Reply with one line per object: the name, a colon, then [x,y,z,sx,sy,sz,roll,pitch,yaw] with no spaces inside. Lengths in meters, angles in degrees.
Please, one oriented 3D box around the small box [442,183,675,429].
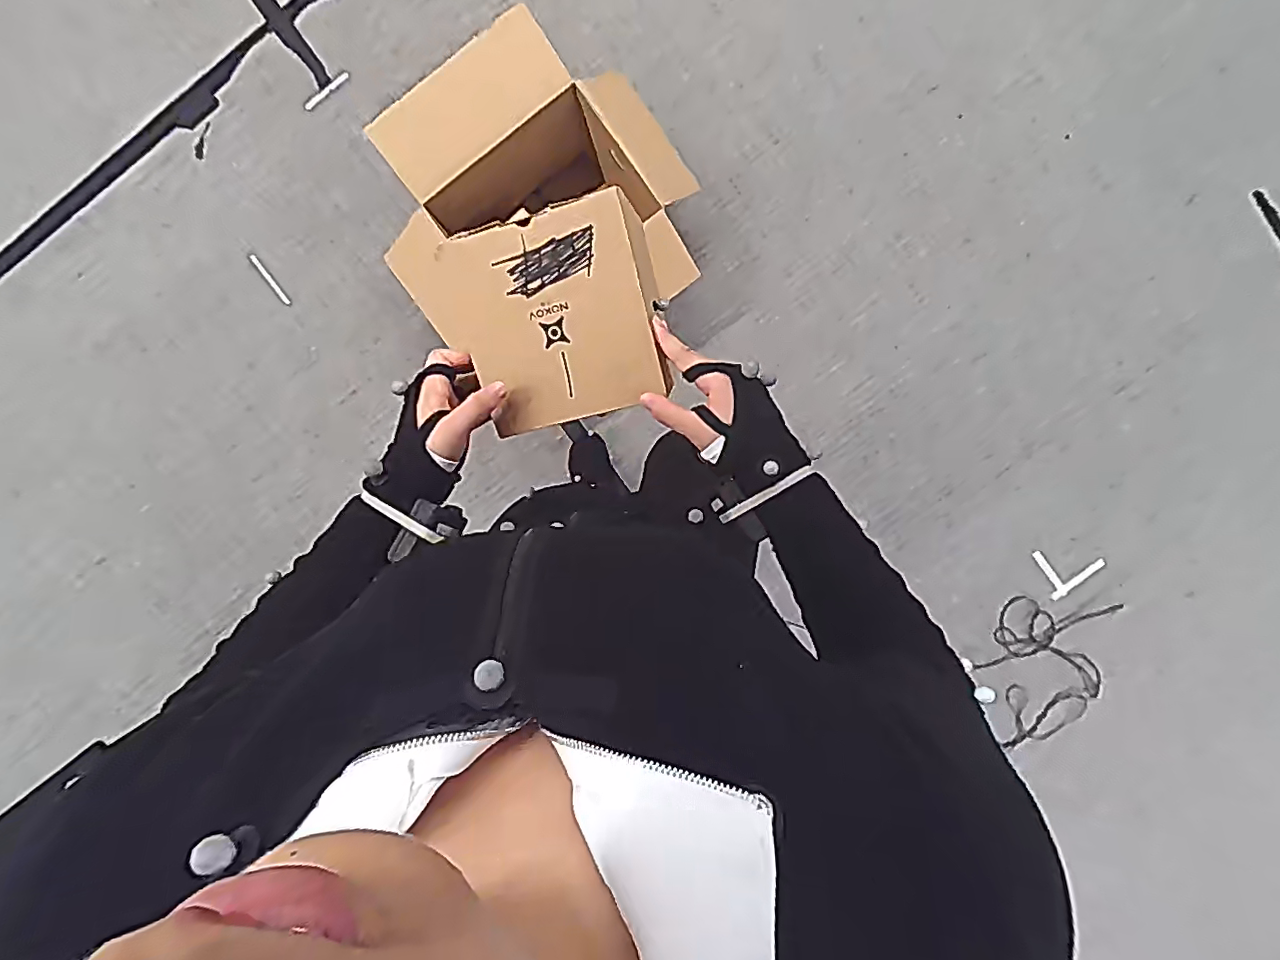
small box: [-0.064,-0.166,0.543,0.168,0.176,0.179,-12,106,10]
